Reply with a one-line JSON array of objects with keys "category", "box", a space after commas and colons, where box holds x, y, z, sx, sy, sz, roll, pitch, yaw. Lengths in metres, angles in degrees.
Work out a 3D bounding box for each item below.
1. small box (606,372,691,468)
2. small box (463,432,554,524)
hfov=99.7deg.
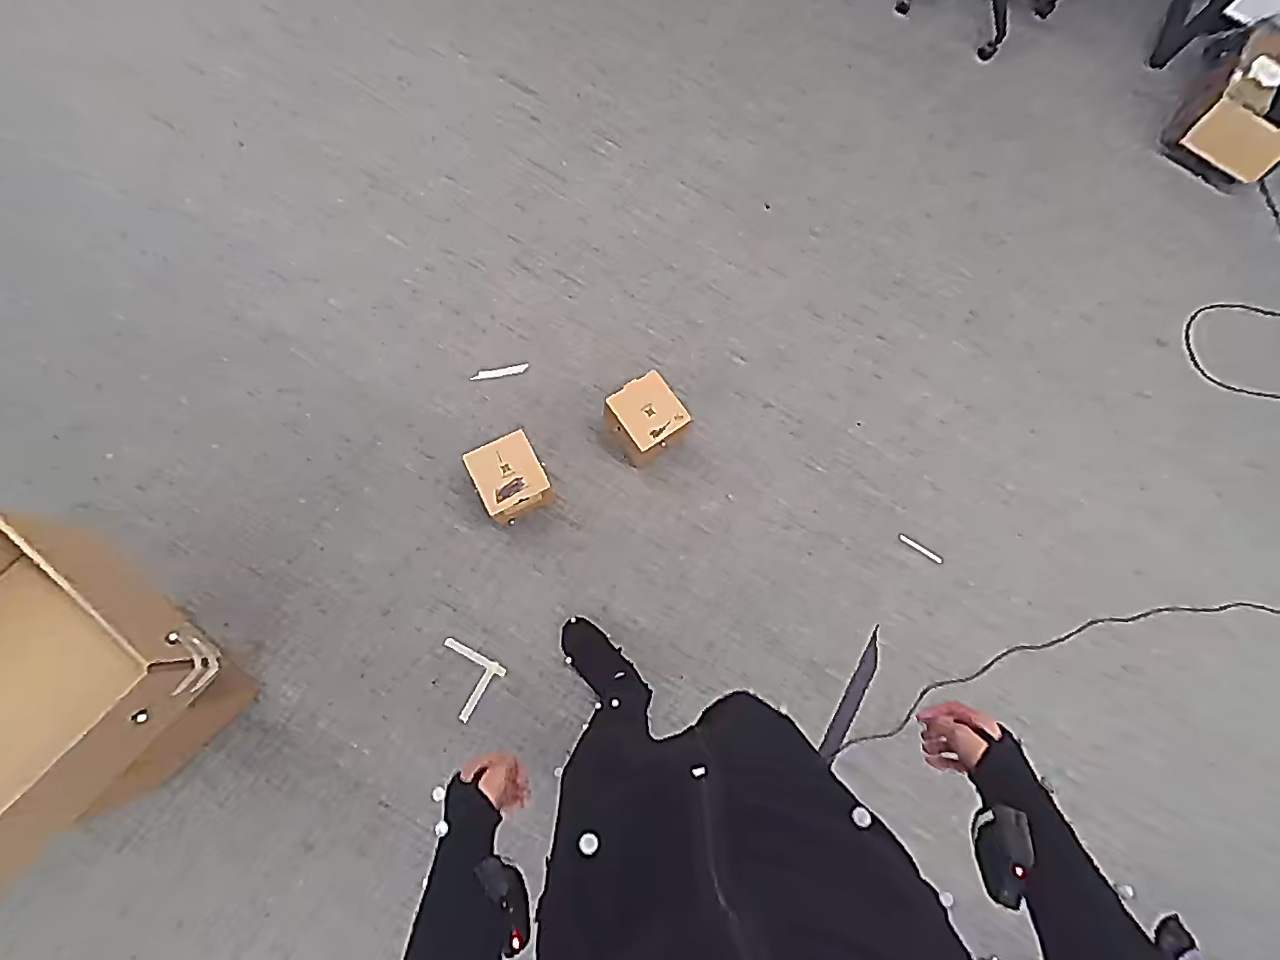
[{"category": "small box", "box": [0.015, -0.160, 1.498, 0.168, 0.176, 0.179, -34, 81, -12]}, {"category": "small box", "box": [-0.337, 0.004, 1.424, 0.168, 0.176, 0.179, -27, 80, -11]}]
